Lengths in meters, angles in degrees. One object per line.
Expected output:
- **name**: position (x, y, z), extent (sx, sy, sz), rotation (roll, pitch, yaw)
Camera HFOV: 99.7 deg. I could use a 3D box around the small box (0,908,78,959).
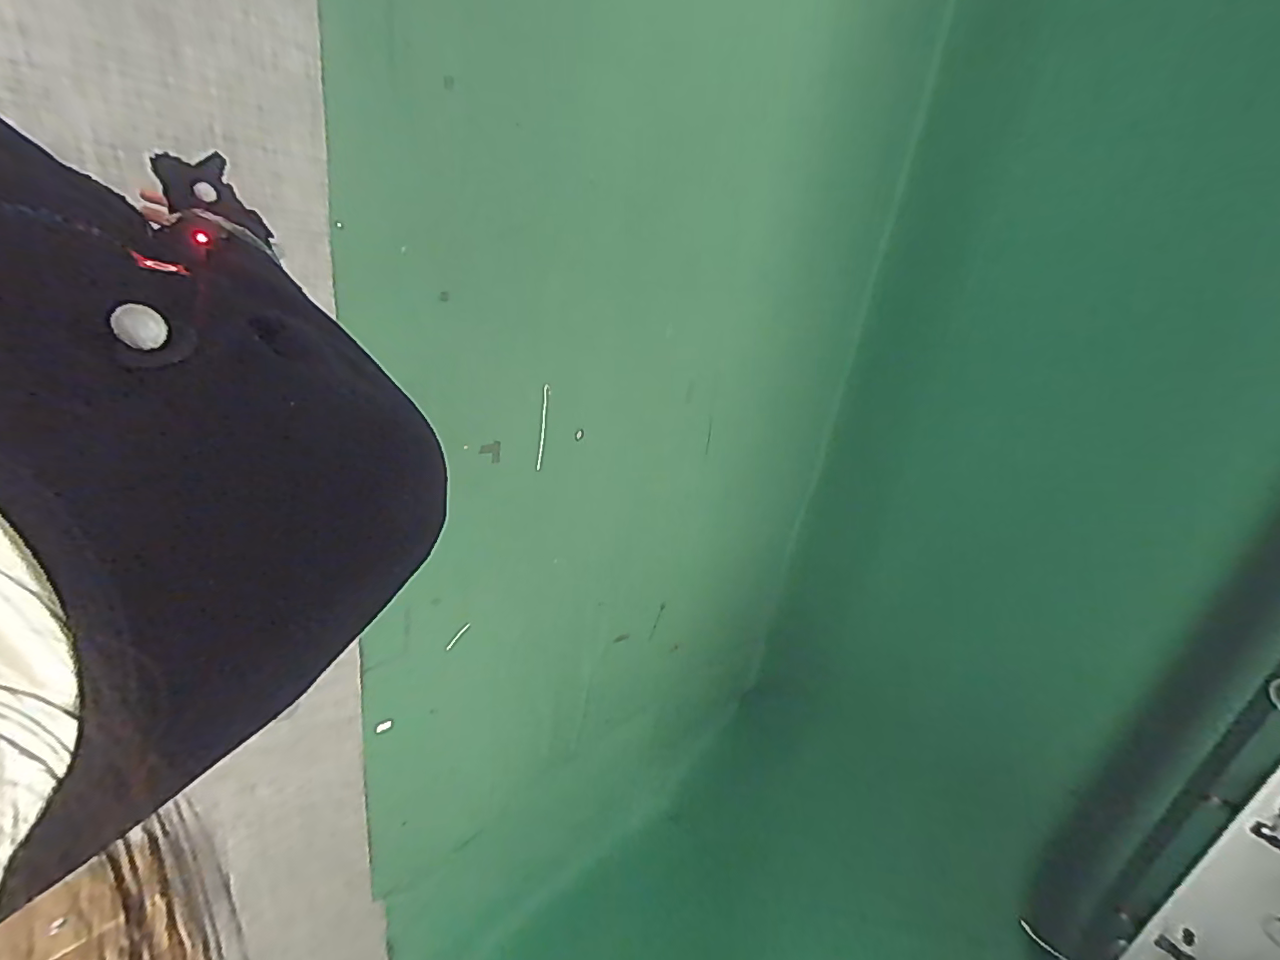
- **small box**: position (-1.447, 1.170, 1.259), extent (0.179, 0.176, 0.168), rotation (-19, 127, -45)
